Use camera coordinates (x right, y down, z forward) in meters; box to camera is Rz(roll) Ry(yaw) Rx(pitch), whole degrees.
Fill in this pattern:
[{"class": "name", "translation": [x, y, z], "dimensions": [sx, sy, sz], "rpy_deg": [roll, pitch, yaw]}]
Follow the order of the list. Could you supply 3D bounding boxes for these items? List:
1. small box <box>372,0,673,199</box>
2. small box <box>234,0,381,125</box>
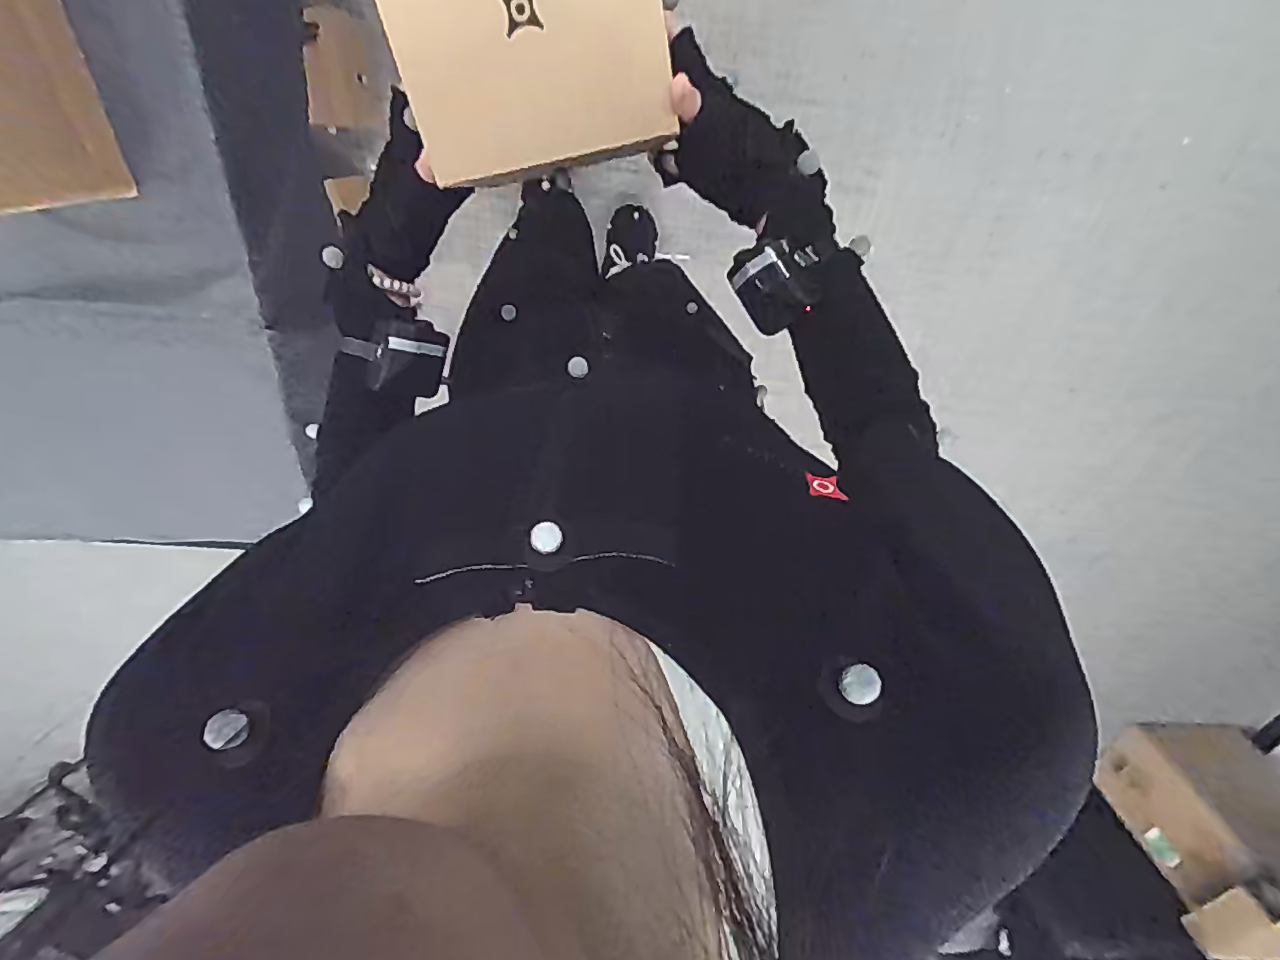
[{"class": "small box", "translation": [-0.074, -0.315, 0.384], "dimensions": [0.168, 0.176, 0.179], "rpy_deg": [-11, 119, 3]}, {"class": "small box", "translation": [-0.616, -0.787, 1.027], "dimensions": [0.168, 0.176, 0.179], "rpy_deg": [3, 124, -5]}]
